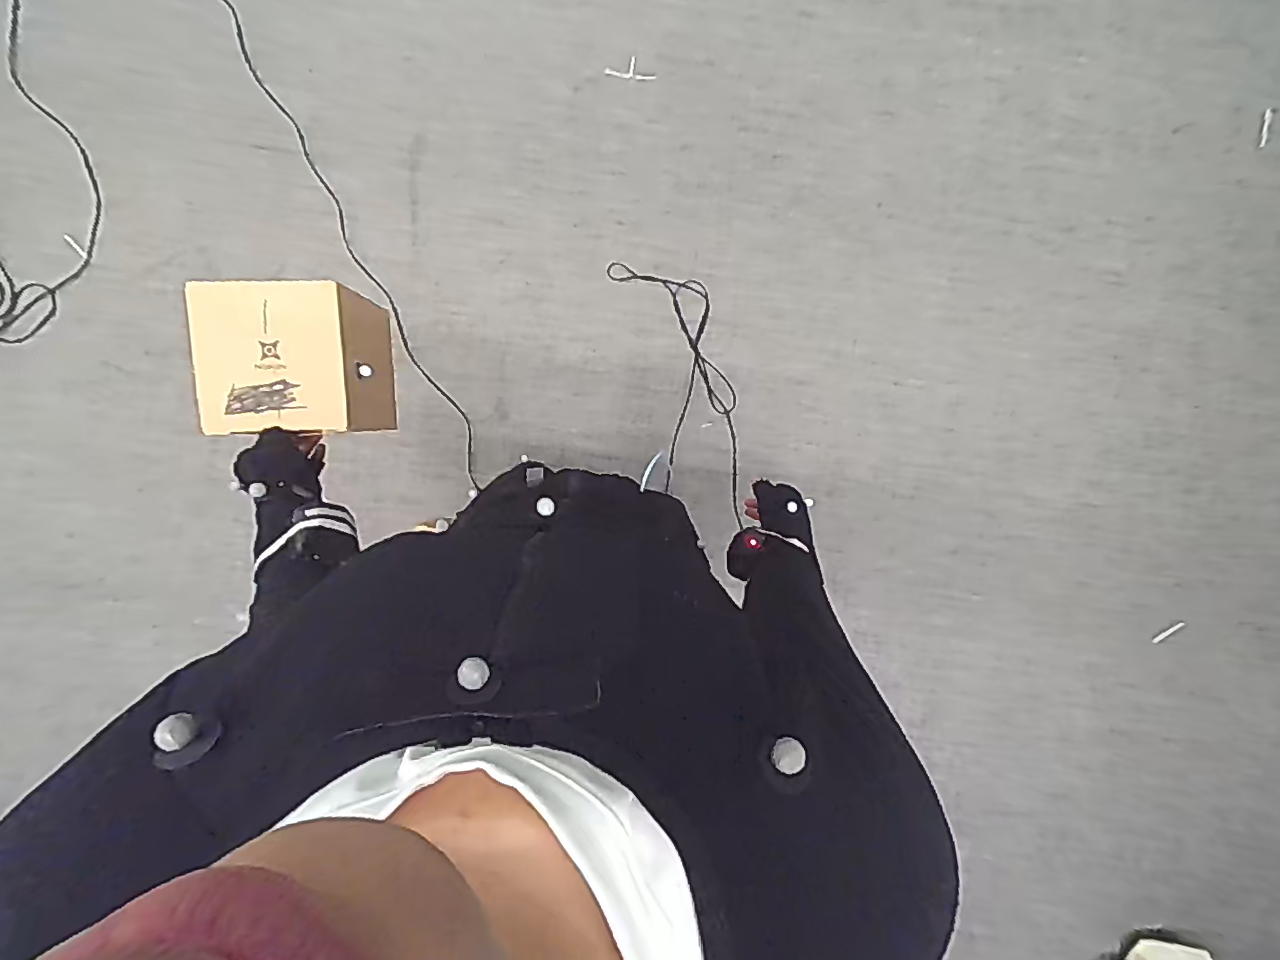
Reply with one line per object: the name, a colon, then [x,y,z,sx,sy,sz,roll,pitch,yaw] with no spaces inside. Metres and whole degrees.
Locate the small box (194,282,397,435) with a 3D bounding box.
small box: [-0.434,-0.151,0.713,0.168,0.176,0.179,-2,96,-5]
